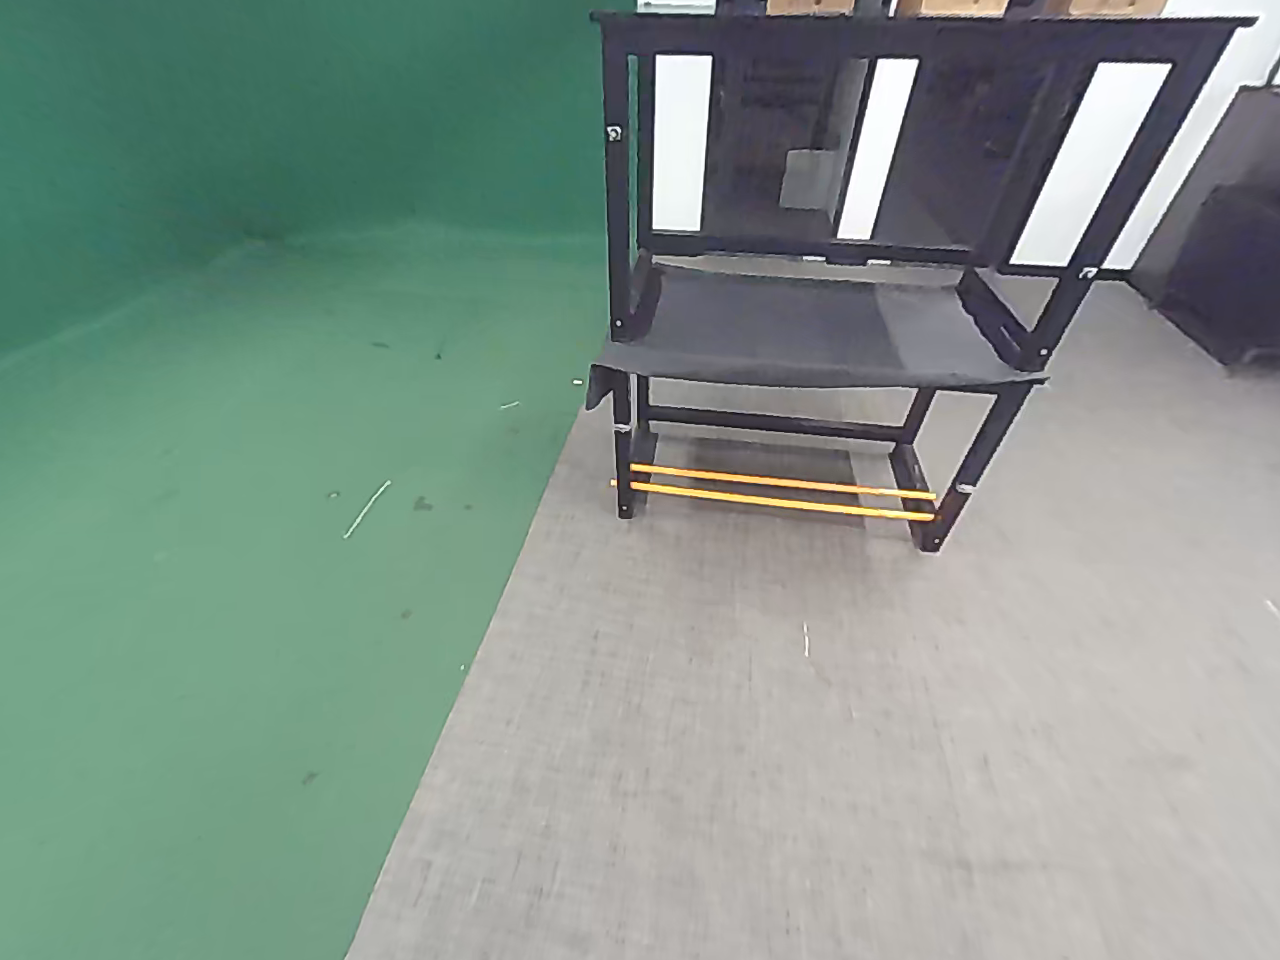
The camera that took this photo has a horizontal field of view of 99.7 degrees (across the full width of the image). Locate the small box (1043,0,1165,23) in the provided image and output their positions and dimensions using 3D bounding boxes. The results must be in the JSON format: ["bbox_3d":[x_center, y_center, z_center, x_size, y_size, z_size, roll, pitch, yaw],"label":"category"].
[{"bbox_3d":[0.931,-1.008,1.053,0.168,0.176,0.179,9,43,11],"label":"small box"}]

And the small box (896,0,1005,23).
[{"bbox_3d":[0.639,-1.030,1.082,0.168,0.176,0.179,2,41,2],"label":"small box"}]
